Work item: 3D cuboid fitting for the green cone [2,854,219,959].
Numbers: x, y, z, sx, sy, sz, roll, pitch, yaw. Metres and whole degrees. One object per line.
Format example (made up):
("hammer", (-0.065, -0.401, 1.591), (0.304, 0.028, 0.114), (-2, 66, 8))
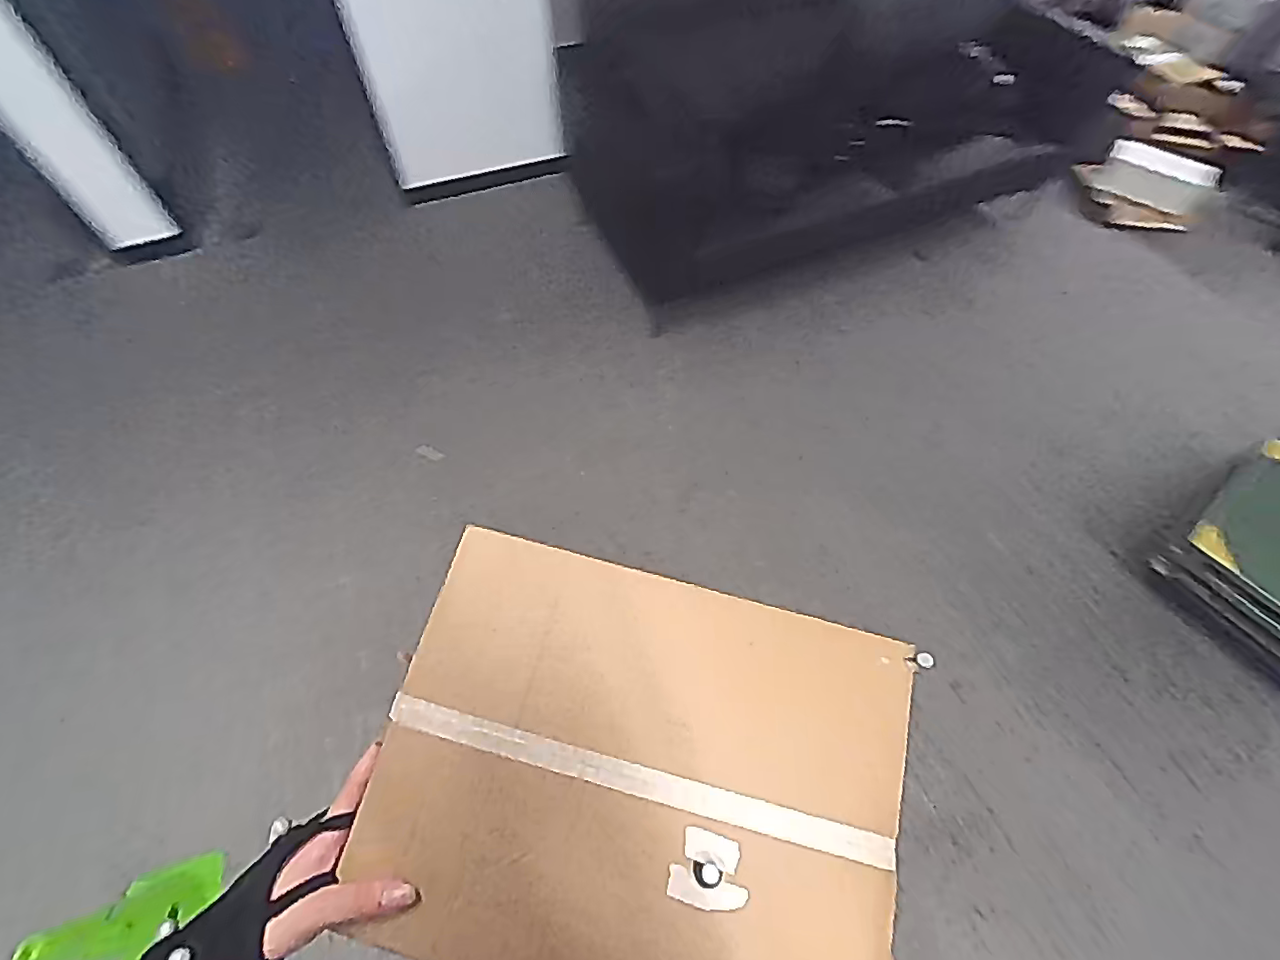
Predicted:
("green cone", (-1.052, 0.889, 1.064), (0.202, 0.368, 0.200), (-15, 60, -10))

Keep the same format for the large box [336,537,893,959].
("large box", (-0.007, 0.281, 0.579), (0.408, 0.320, 0.320), (13, 72, 3))
